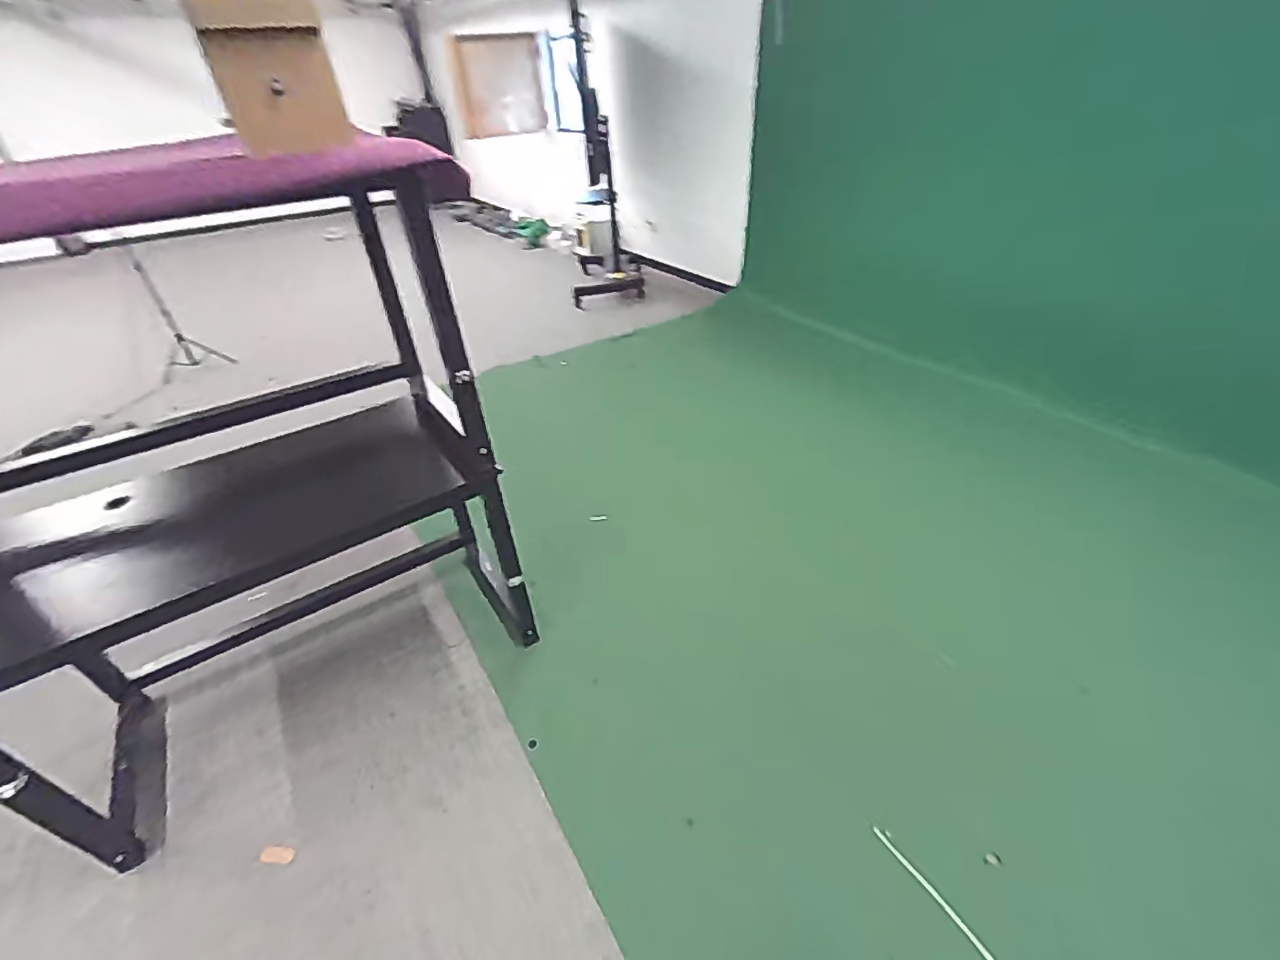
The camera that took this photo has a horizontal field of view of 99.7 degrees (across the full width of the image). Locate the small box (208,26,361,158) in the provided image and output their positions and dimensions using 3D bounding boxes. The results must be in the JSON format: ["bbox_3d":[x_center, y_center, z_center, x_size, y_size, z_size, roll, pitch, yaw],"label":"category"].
[{"bbox_3d":[-0.609,-0.675,0.941,0.179,0.176,0.168,-25,42,-24],"label":"small box"}]

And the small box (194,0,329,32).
[{"bbox_3d":[-0.603,-0.797,0.829,0.179,0.176,0.168,-25,41,-25],"label":"small box"}]
